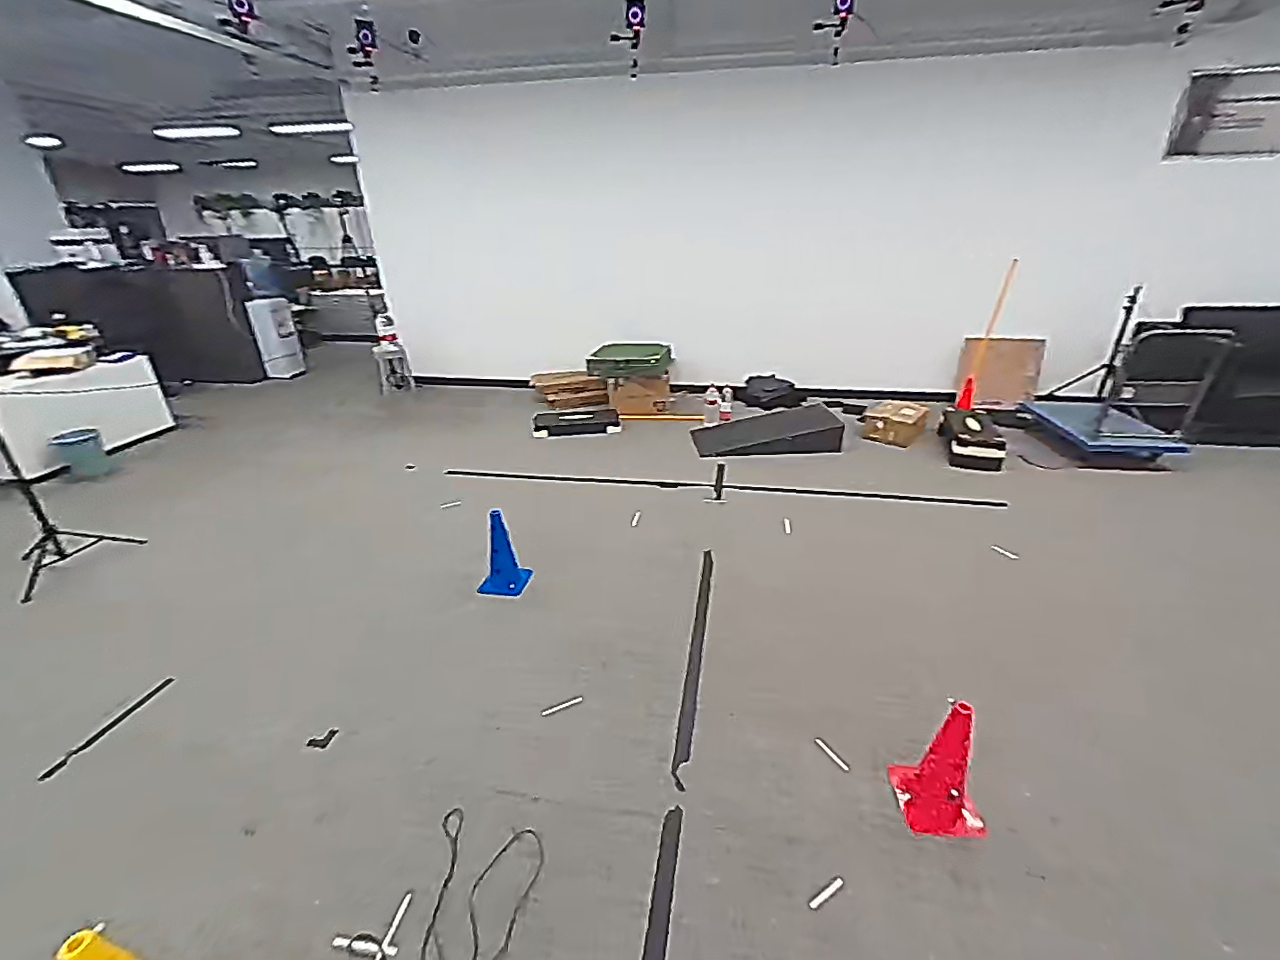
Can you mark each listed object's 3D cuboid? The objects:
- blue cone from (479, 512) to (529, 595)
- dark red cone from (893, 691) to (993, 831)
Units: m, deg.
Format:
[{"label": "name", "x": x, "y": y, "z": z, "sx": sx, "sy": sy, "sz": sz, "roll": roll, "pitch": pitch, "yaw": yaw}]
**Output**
[{"label": "blue cone", "x": -0.613, "y": 0.311, "z": 2.361, "sx": 0.192, "sy": 0.380, "sz": 0.193, "roll": 3, "pitch": 25, "yaw": 11}, {"label": "dark red cone", "x": 0.809, "y": 0.702, "z": 1.400, "sx": 0.201, "sy": 0.394, "sz": 0.202, "roll": -1, "pitch": 25, "yaw": 4}]
